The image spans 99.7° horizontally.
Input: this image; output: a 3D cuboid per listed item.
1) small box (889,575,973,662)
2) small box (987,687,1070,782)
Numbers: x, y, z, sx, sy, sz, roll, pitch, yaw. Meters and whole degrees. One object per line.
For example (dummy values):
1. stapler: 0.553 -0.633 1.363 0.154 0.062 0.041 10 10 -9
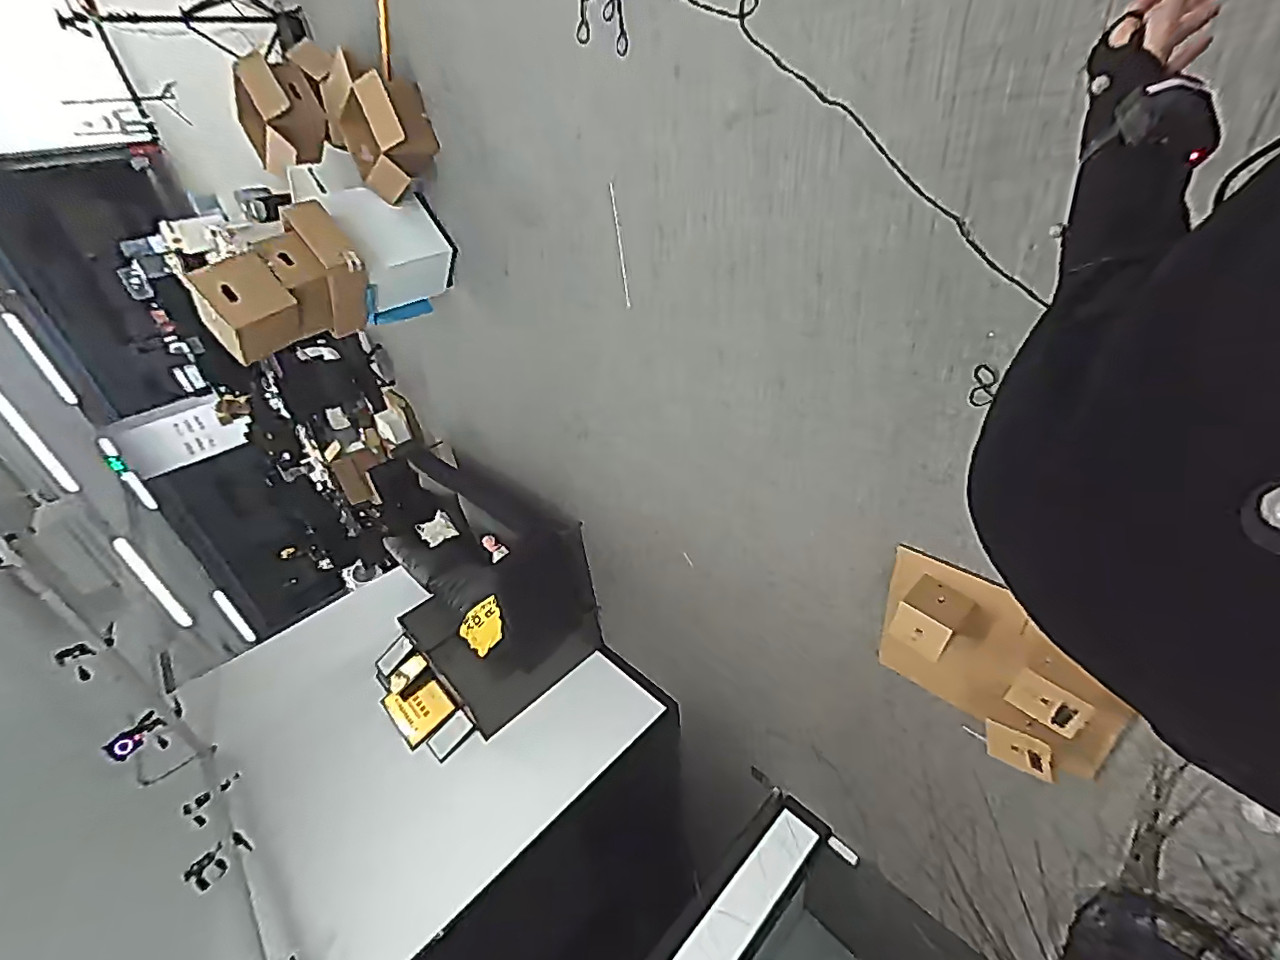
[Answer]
1. small box: 0.945 0.443 1.753 0.168 0.176 0.179 33 141 36
2. small box: 1.212 0.782 1.682 0.179 0.176 0.168 12 126 51
